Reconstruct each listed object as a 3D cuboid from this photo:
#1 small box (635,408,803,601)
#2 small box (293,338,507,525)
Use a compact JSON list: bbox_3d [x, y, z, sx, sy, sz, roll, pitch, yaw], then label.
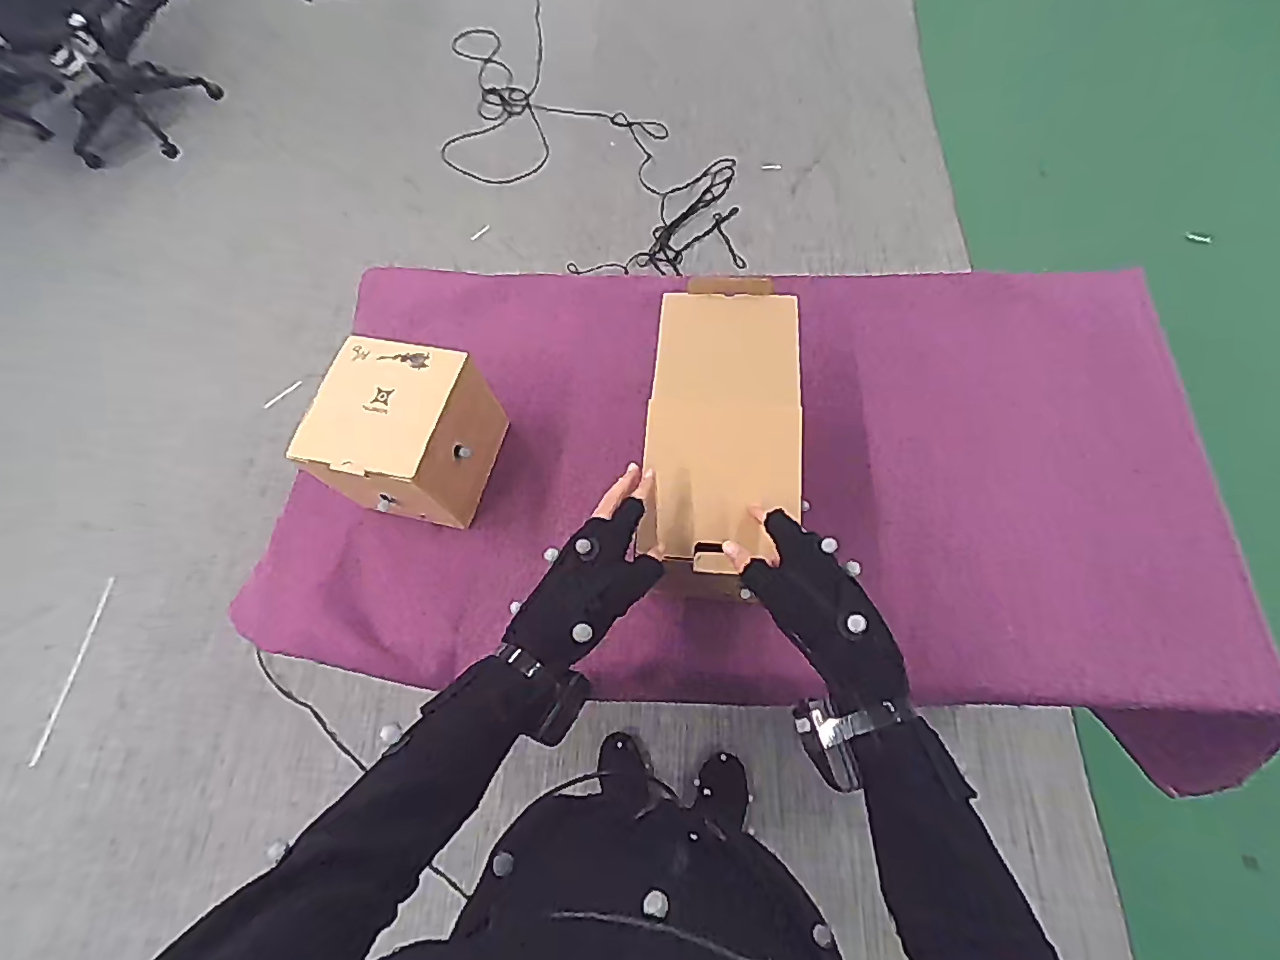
[{"bbox_3d":[0.092,0.037,0.630,0.168,0.176,0.179,4,66,7],"label":"small box"},{"bbox_3d":[-0.293,-0.055,0.707,0.168,0.176,0.179,11,68,10],"label":"small box"}]
